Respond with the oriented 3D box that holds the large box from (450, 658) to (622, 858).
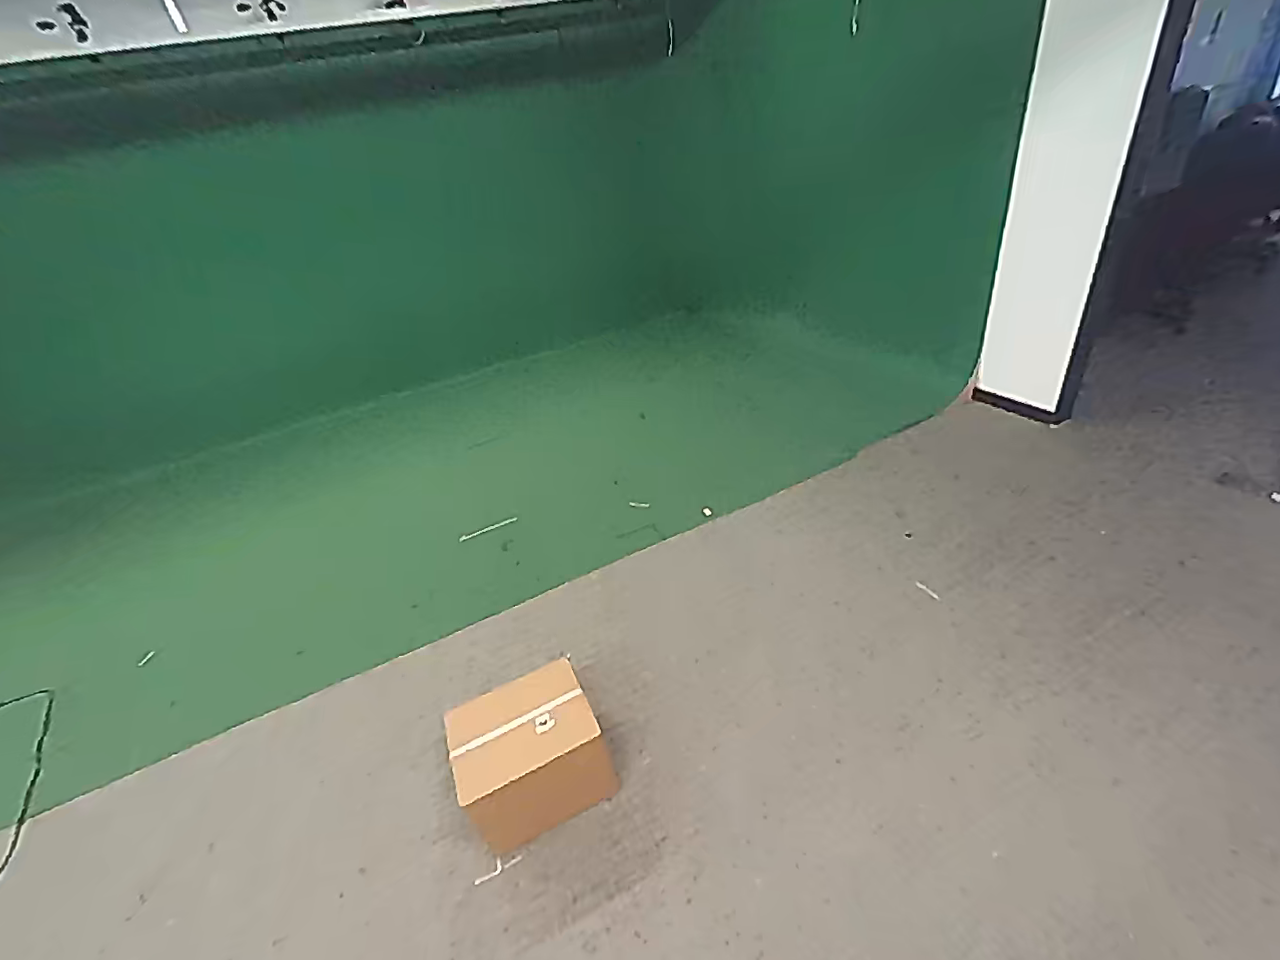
[{"bbox_3d":[-0.314,0.833,1.645,0.408,0.320,0.320,-21,34,-16],"label":"large box"}]
